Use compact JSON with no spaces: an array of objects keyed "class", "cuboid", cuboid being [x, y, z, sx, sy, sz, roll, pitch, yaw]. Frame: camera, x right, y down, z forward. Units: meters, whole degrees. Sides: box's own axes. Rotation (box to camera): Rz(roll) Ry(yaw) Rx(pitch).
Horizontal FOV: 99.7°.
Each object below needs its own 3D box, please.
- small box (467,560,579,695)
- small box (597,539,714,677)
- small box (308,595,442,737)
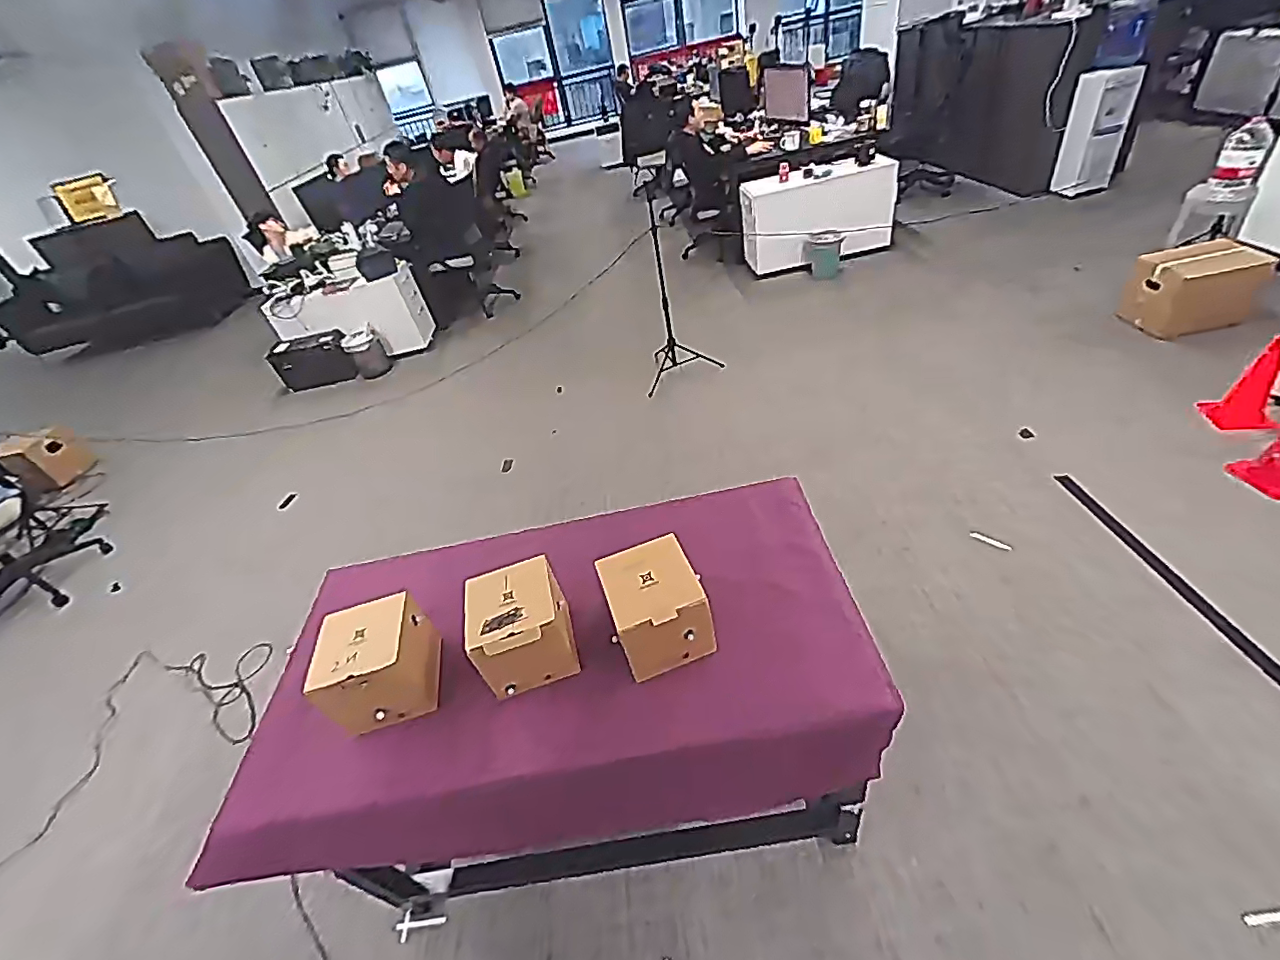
[{"class":"small box","cuboid":[-0.226,0.293,1.056,0.168,0.176,0.179,-18,38,-5]},{"class":"small box","cuboid":[0.032,0.250,1.033,0.168,0.176,0.179,-19,38,-7]},{"class":"small box","cuboid":[-0.500,0.362,1.053,0.168,0.176,0.179,-17,39,-3]}]
